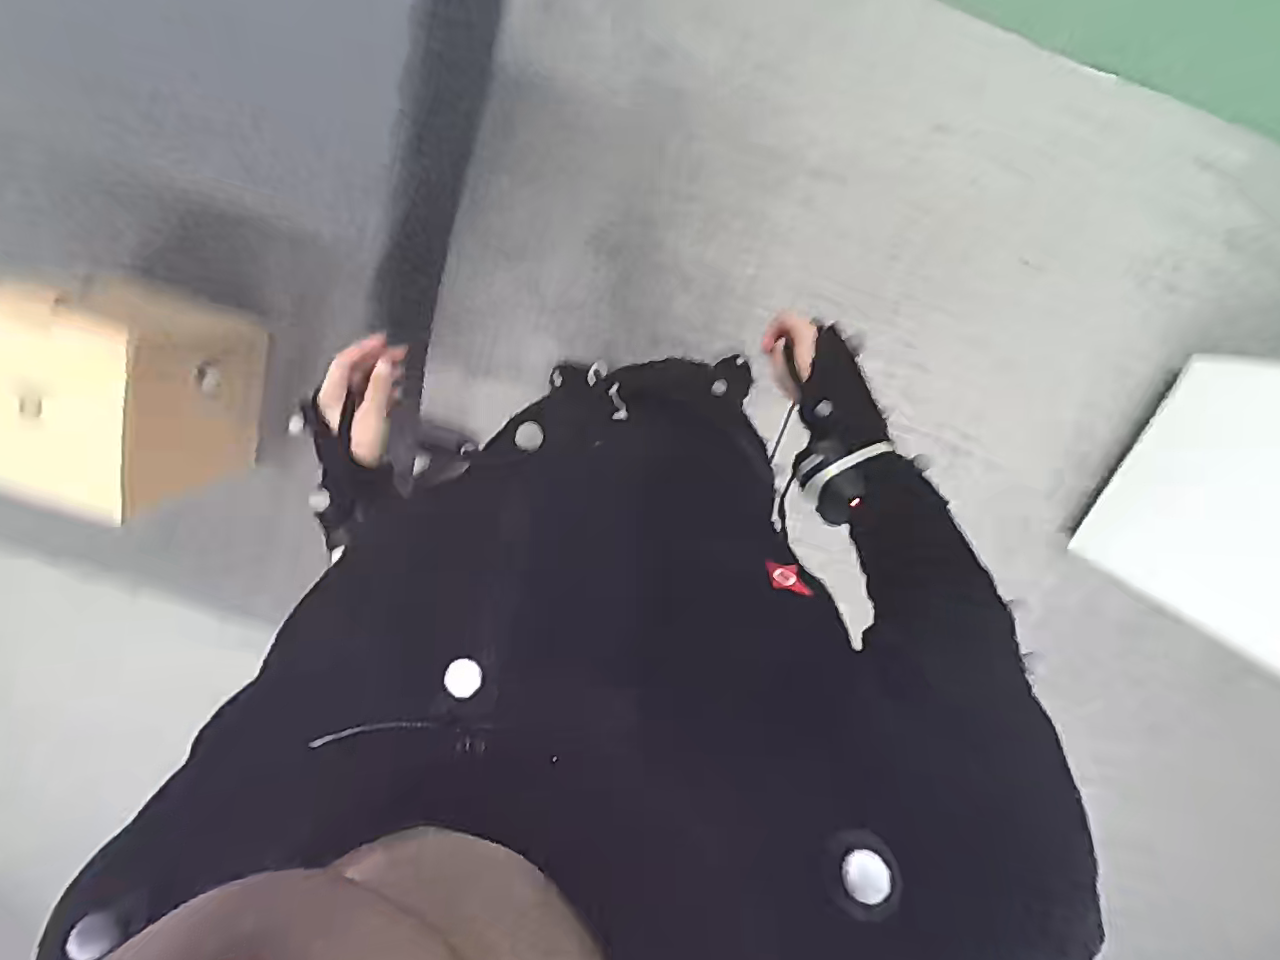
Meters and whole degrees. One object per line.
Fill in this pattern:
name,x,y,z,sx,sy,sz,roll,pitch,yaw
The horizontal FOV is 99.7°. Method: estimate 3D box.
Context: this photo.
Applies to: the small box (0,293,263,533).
small box,-0.512,-0.077,0.534,0.168,0.176,0.179,17,107,-2
